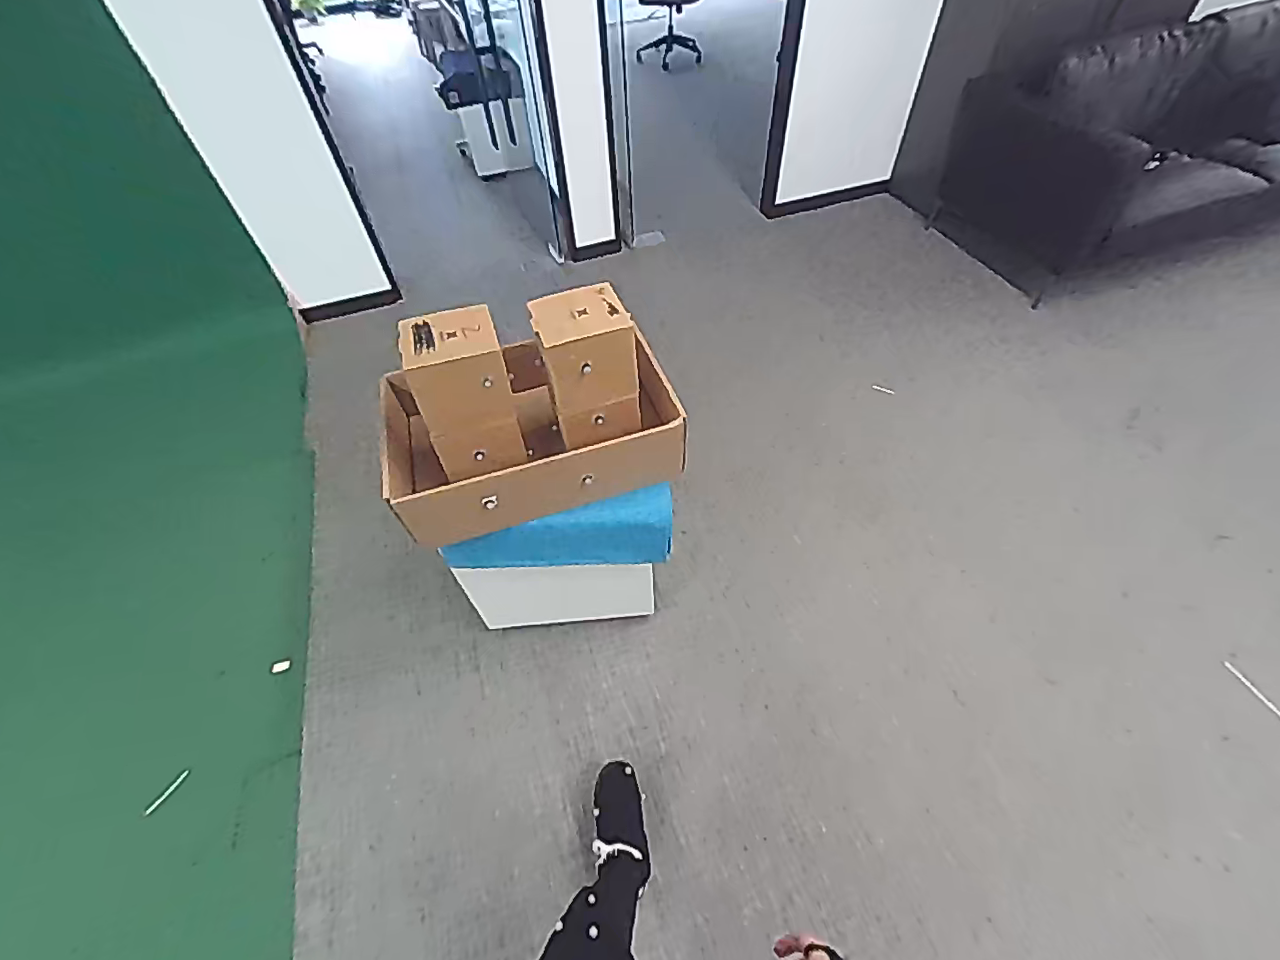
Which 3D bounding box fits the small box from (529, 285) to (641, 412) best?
[{"bbox_3d":[-0.108,-0.264,1.104,0.179,0.176,0.168,-18,52,-8],"label":"small box"}]
